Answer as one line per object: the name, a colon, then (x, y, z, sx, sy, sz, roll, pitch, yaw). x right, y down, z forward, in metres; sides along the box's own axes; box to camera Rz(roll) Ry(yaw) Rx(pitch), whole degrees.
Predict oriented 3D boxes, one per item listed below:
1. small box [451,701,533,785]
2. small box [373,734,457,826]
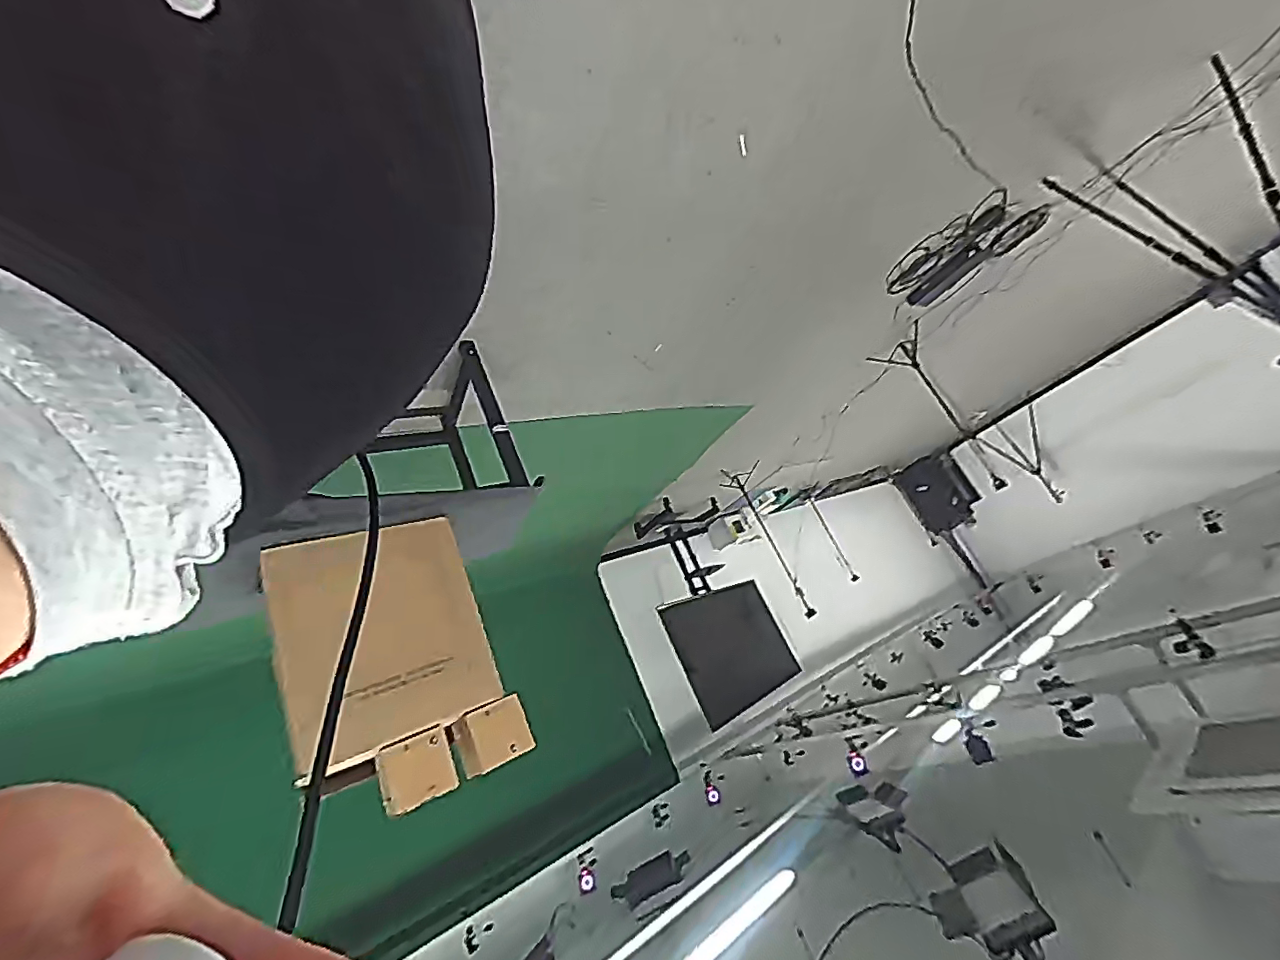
small box: (-0.455, 0.791, 1.636, 0.168, 0.176, 0.179, -13, 158, -40)
small box: (-0.631, 0.829, 1.503, 0.168, 0.176, 0.179, -10, 156, -37)
